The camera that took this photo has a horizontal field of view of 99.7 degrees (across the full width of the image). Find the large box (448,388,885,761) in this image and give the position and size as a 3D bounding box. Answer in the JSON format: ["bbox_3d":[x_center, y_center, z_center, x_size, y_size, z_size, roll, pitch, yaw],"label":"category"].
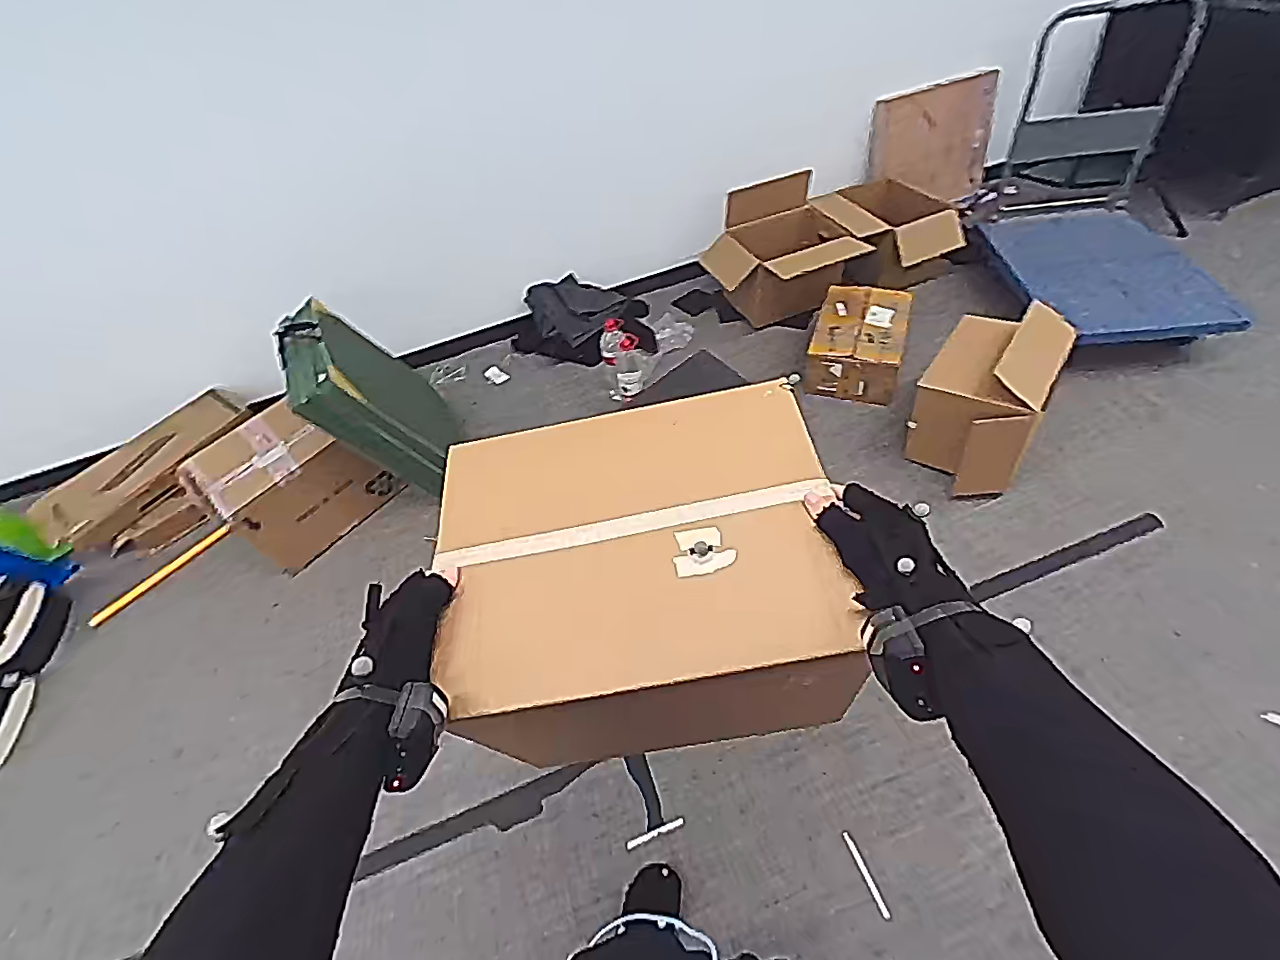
[{"bbox_3d":[0.023,0.134,0.681,0.408,0.320,0.320,-10,55,3],"label":"large box"}]
